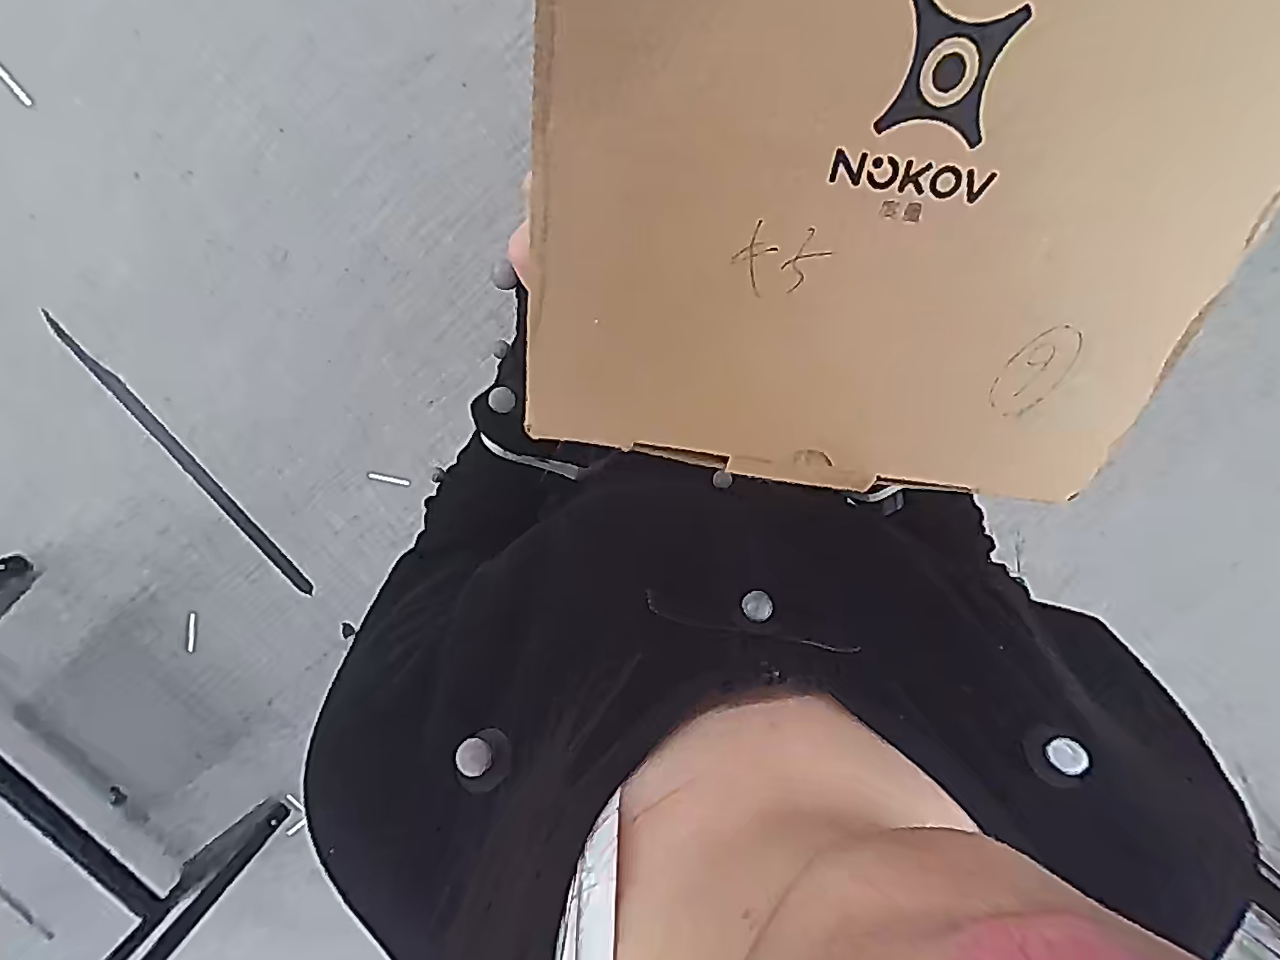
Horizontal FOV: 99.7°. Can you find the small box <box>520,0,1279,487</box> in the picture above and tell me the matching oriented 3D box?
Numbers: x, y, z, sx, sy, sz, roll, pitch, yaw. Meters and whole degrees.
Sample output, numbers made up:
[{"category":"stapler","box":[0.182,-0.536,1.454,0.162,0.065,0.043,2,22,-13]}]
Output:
[{"category":"small box","box":[0.059,-0.123,0.183,0.168,0.176,0.179,7,122,-4]}]
